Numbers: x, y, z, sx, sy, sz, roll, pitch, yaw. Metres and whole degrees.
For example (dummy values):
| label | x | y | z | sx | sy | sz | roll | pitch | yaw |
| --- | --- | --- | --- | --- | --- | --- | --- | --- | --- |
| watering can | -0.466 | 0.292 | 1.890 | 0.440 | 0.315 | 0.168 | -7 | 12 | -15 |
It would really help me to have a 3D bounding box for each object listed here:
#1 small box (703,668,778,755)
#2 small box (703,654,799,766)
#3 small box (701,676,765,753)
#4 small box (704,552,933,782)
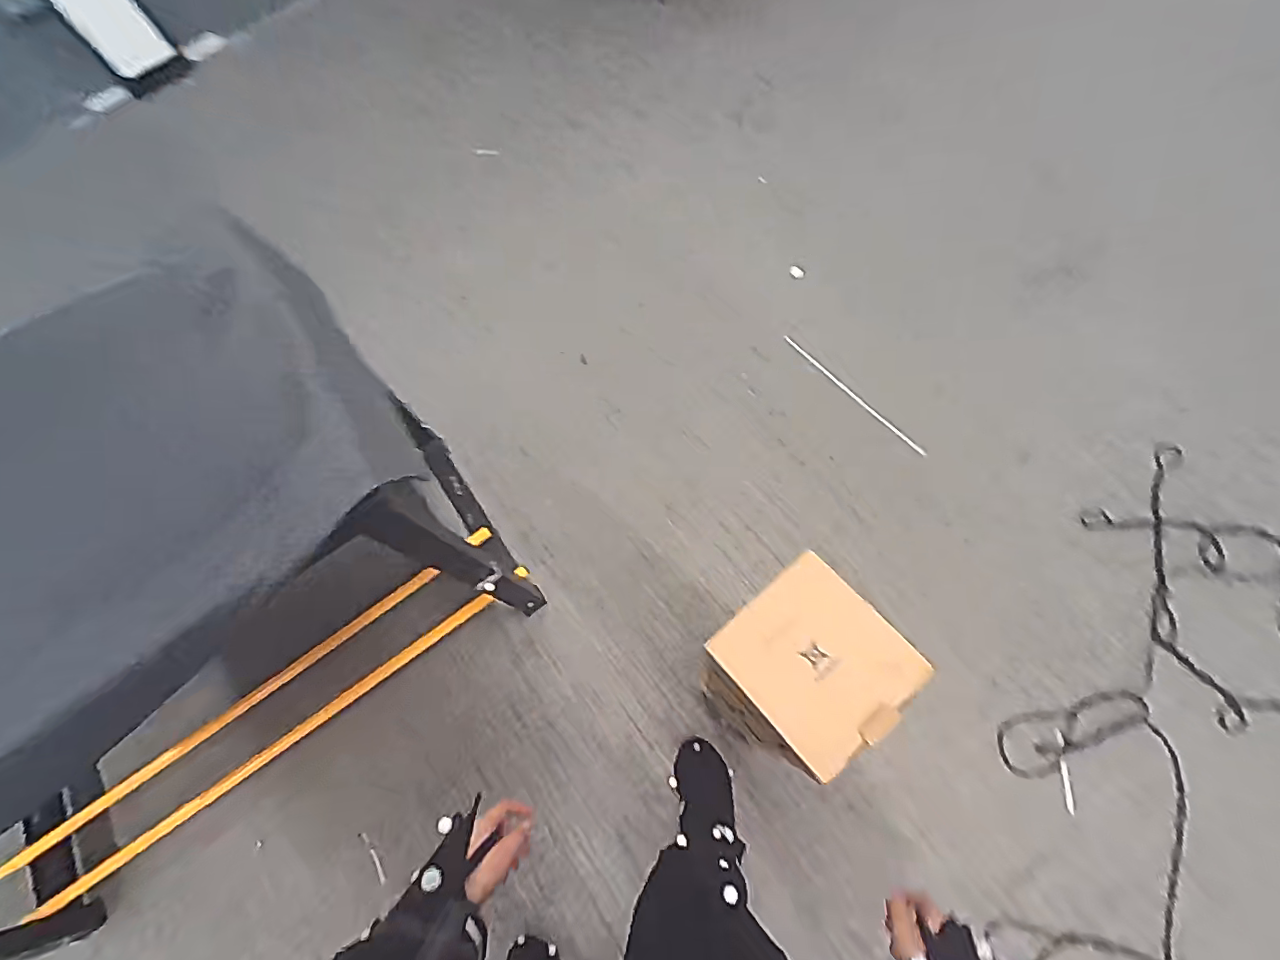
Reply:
| label | x | y | z | sx | sy | sz | roll | pitch | yaw |
| --- | --- | --- | --- | --- | --- | --- | --- | --- | --- |
| small box | 0.228 | 0.345 | 0.940 | 0.179 | 0.176 | 0.168 | -40 | 68 | -10 |
| small box | 0.210 | 0.279 | 0.791 | 0.168 | 0.176 | 0.179 | -39 | 69 | -10 |
| small box | 0.238 | 0.415 | 1.088 | 0.179 | 0.176 | 0.168 | -41 | 67 | -10 |
| small box | 0.195 | 0.217 | 0.642 | 0.168 | 0.176 | 0.179 | -39 | 67 | -10 |
